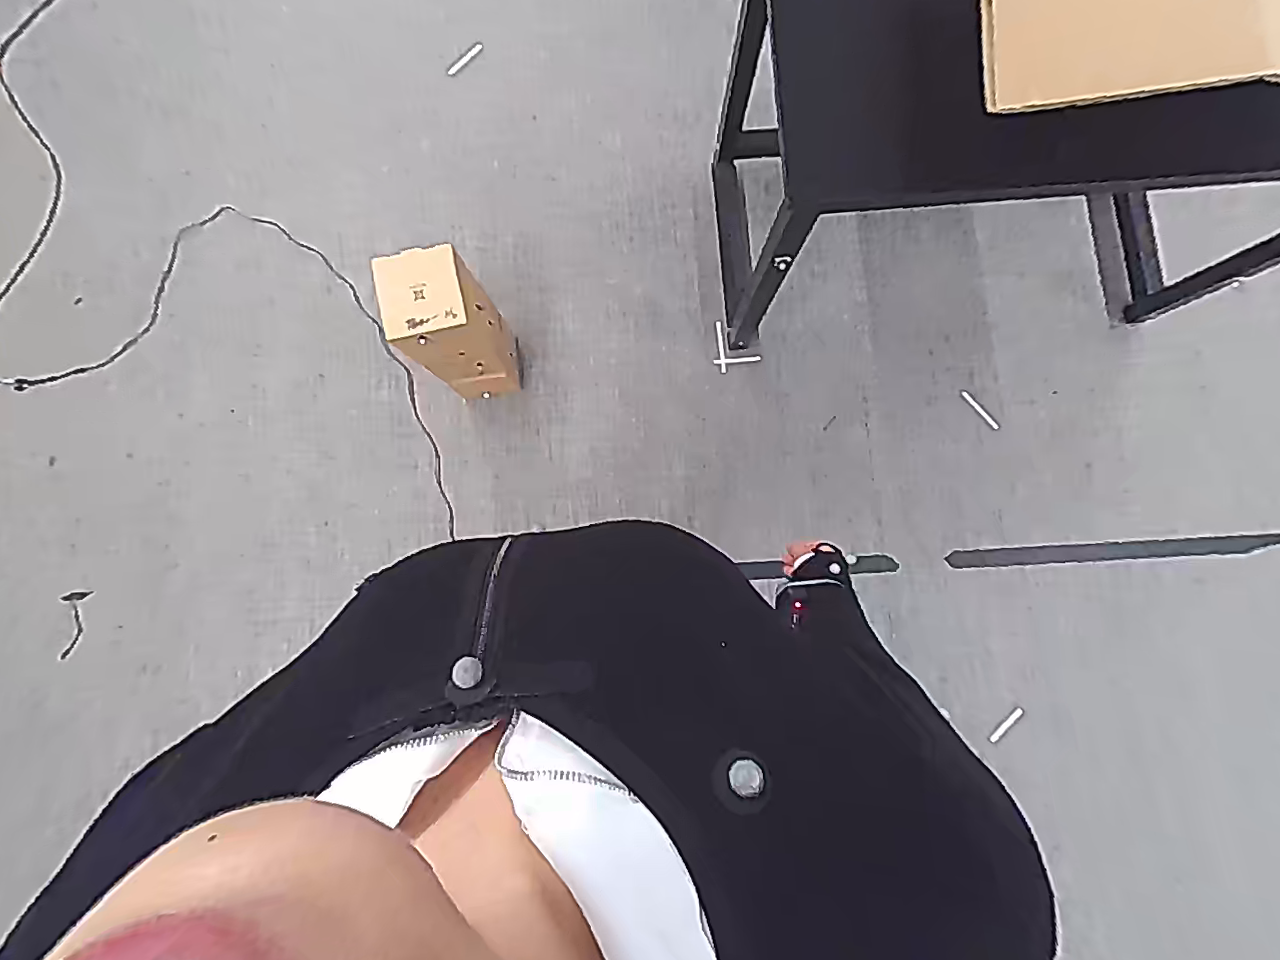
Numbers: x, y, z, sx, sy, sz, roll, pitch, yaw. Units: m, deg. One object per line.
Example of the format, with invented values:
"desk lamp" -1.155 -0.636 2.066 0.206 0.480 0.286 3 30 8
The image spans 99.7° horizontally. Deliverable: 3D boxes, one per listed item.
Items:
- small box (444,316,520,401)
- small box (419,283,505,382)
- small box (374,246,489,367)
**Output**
"small box" -0.434 -0.328 1.485 0.168 0.176 0.179 -8 85 0
"small box" -0.439 -0.351 1.324 0.168 0.176 0.179 -11 83 -1
"small box" -0.439 -0.364 1.160 0.168 0.176 0.179 -13 83 -1
